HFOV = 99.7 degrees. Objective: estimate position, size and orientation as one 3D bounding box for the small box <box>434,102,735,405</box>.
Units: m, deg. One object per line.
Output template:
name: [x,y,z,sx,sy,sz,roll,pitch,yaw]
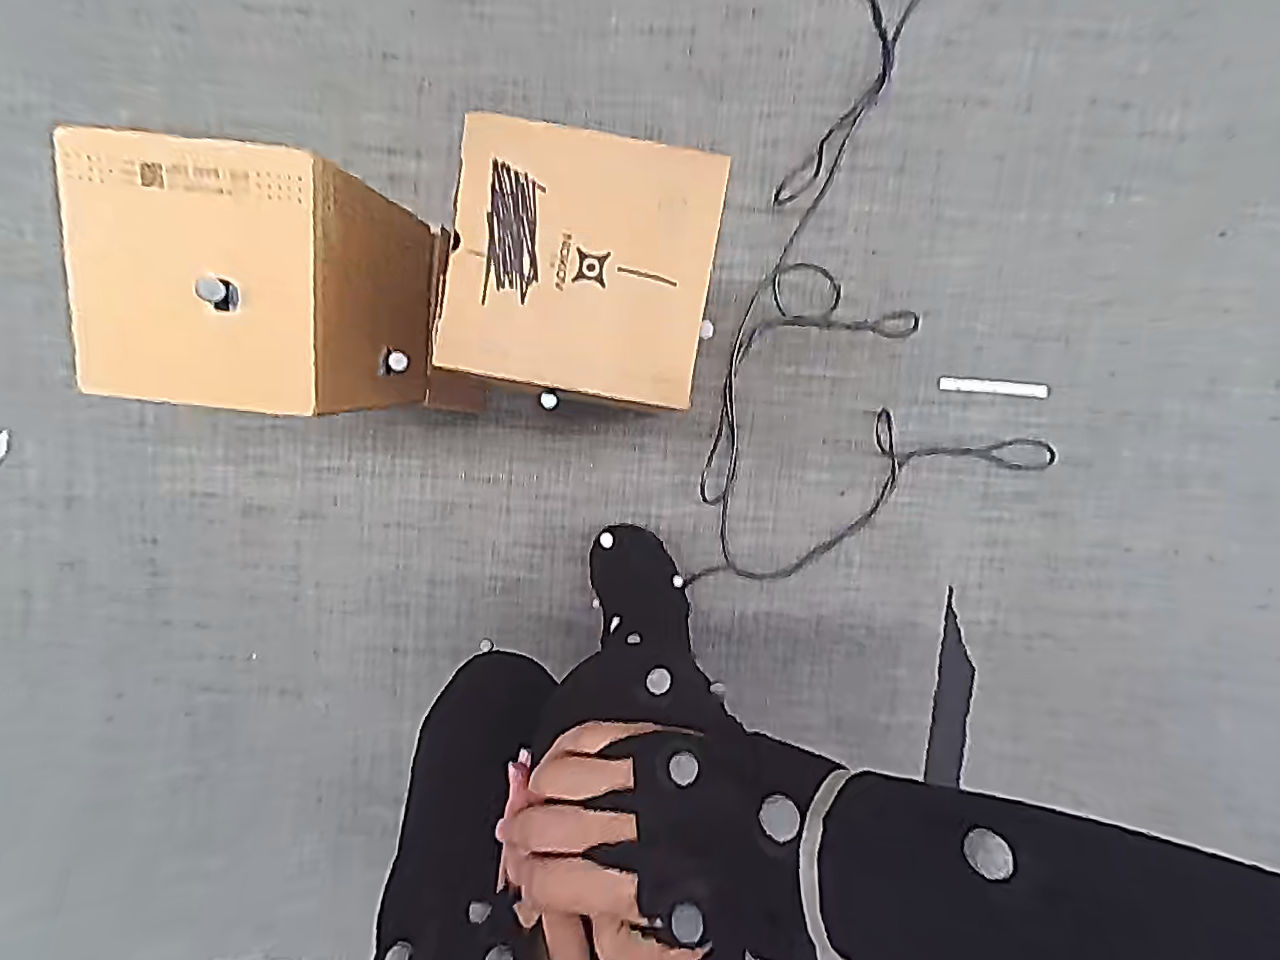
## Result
small box: [-0.038,-0.155,0.433,0.179,0.176,0.168,10,96,-1]
